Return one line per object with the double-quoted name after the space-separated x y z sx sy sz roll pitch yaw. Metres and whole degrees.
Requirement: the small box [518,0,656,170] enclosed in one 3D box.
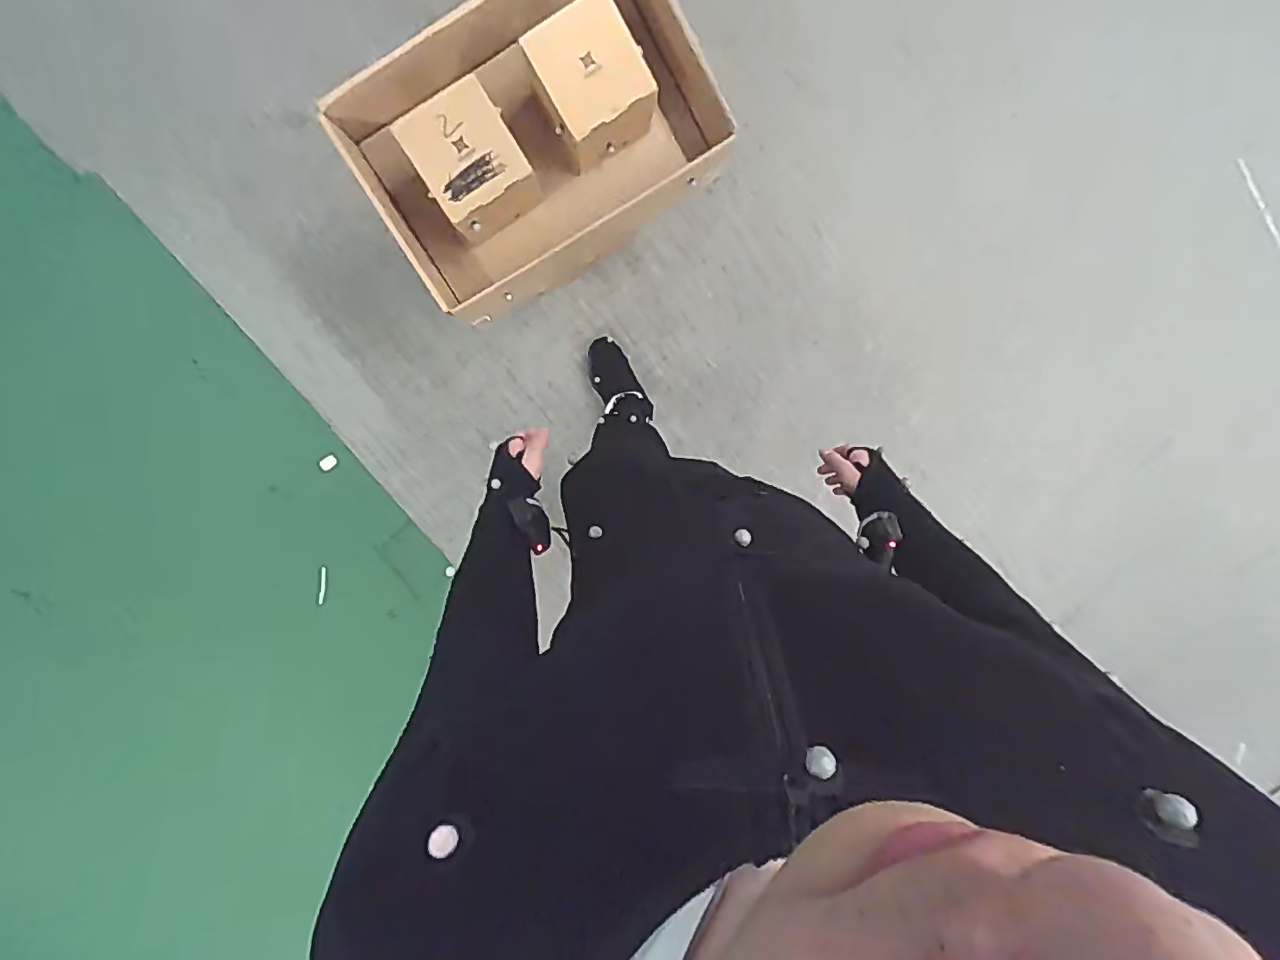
-0.092 -0.695 0.956 0.168 0.176 0.179 -32 104 2 "small box"
